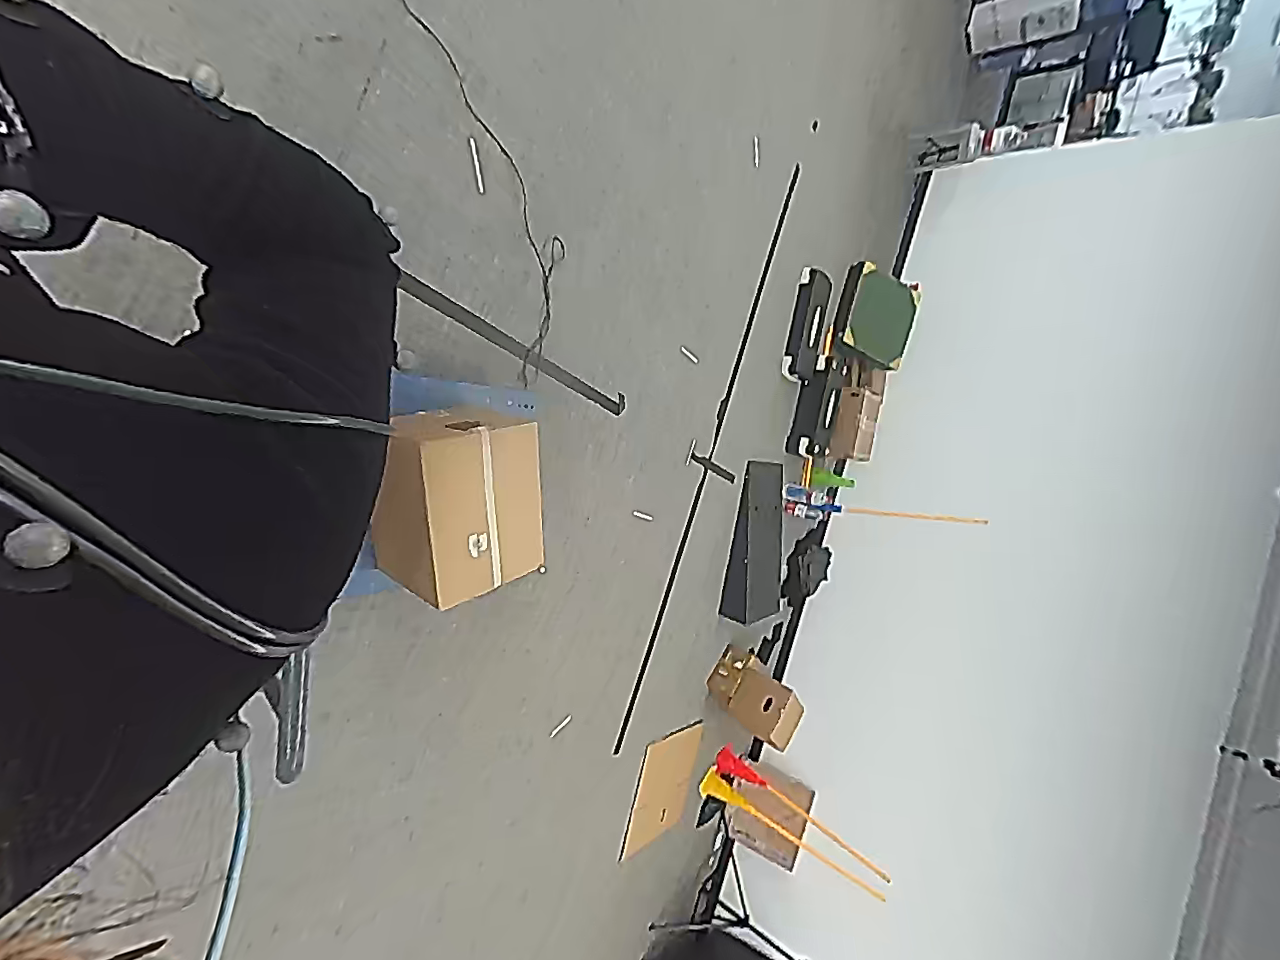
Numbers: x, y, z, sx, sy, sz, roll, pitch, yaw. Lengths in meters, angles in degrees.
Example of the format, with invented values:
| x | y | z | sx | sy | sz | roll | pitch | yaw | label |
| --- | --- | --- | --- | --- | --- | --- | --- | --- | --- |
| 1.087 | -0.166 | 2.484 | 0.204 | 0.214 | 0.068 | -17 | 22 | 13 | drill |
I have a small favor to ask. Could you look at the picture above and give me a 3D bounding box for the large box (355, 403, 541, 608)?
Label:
| x | y | z | sx | sy | sz | roll | pitch | yaw | label |
| --- | --- | --- | --- | --- | --- | --- | --- | --- | --- |
| -0.476 | 0.040 | 1.373 | 0.320 | 0.320 | 0.408 | -19 | 117 | -46 | large box |
